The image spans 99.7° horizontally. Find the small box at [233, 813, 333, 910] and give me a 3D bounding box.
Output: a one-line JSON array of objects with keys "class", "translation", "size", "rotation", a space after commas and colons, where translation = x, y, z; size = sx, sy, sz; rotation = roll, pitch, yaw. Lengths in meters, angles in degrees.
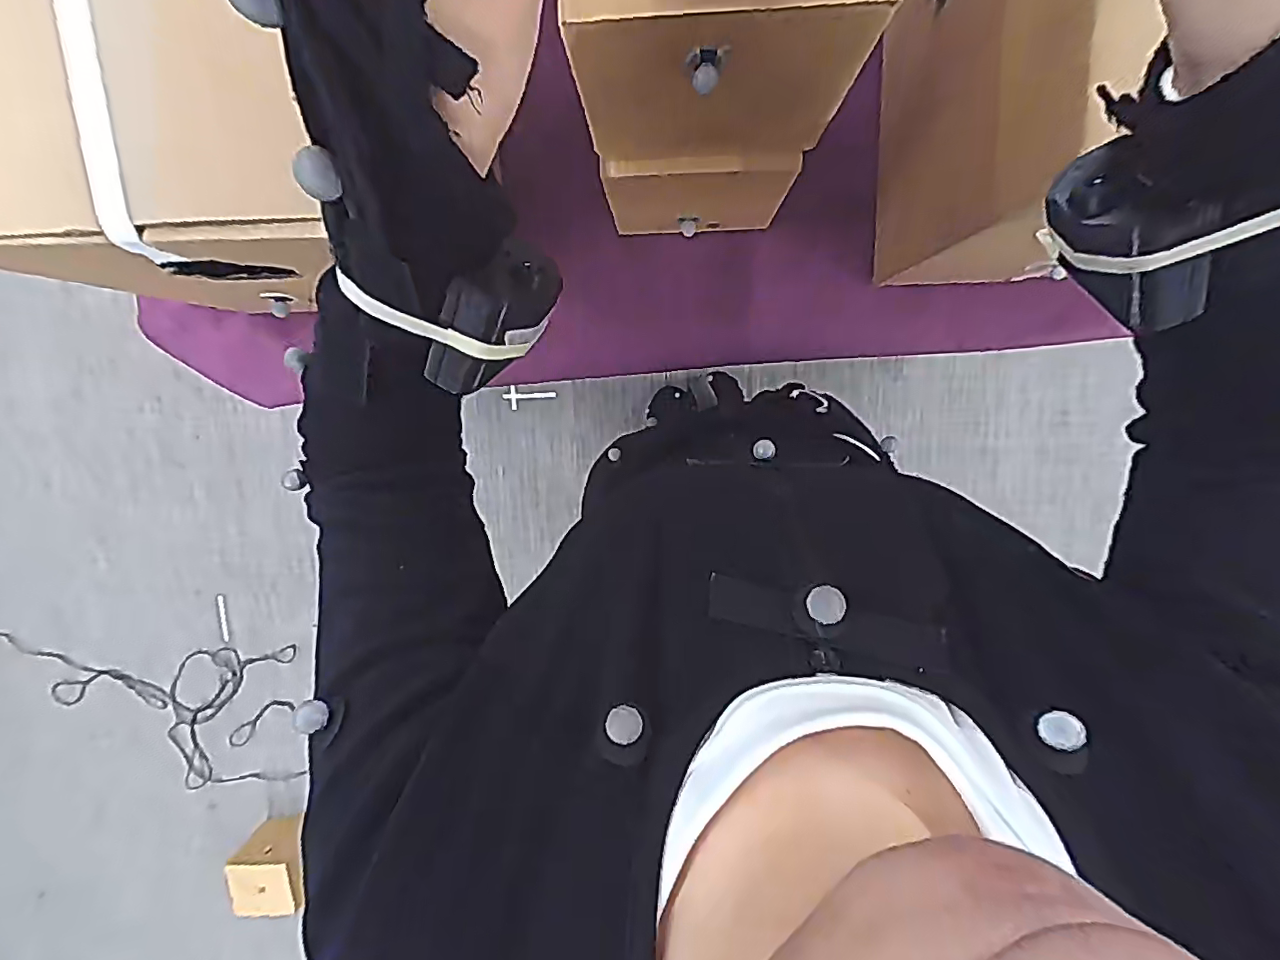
[{"class": "small box", "translation": [-1.019, 1.096, 1.563], "size": [0.179, 0.176, 0.168], "rotation": [-3, 100, 4]}]

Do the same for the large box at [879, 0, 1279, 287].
[{"class": "large box", "translation": [0.389, -0.390, 0.406], "size": [0.320, 0.320, 0.408], "rotation": [-2, 98, 3]}]
